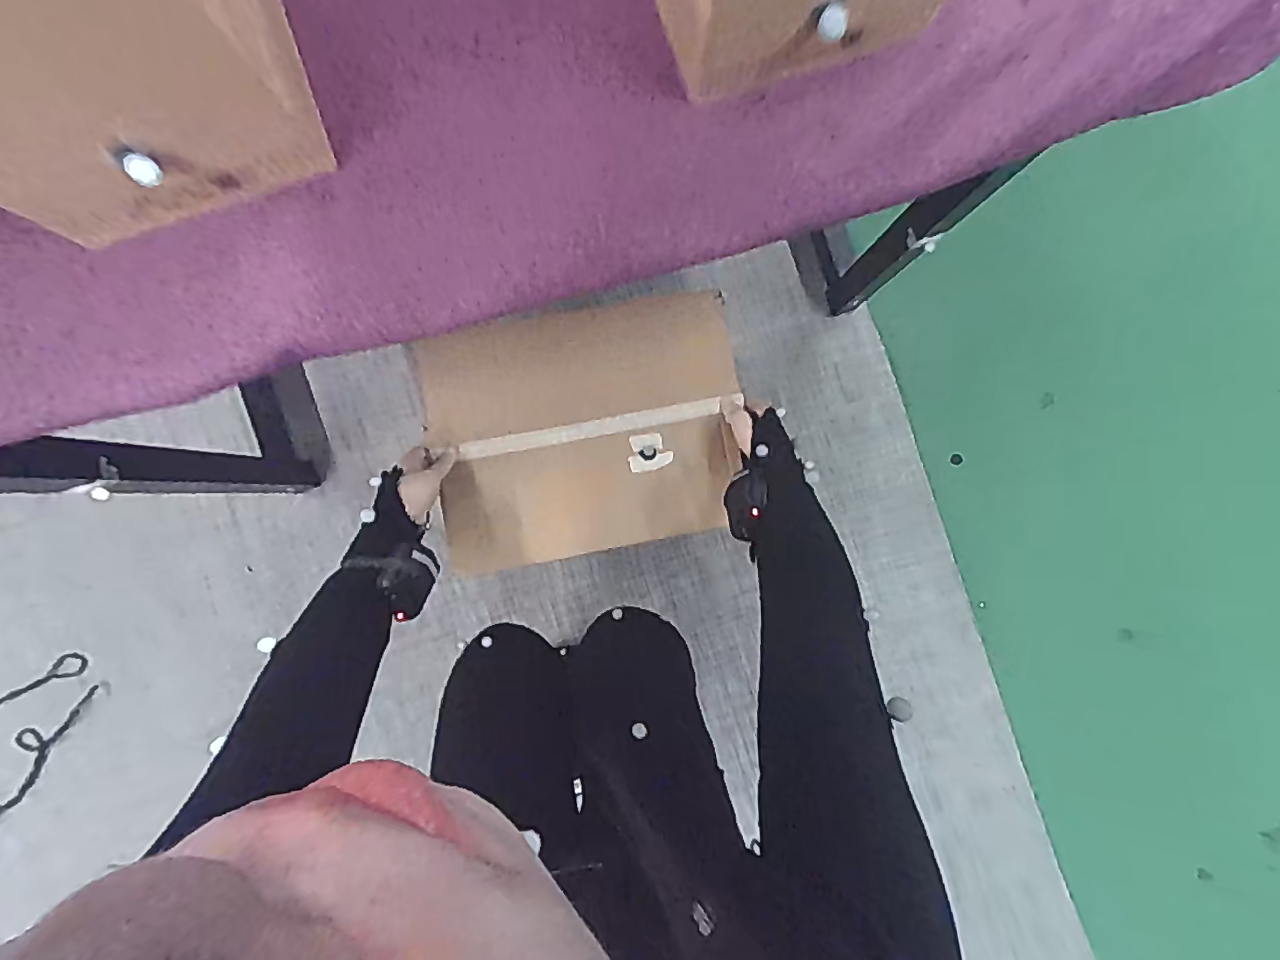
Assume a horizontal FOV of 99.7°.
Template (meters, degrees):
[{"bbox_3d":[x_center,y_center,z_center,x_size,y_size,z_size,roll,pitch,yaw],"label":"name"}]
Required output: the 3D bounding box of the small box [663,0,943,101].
[{"bbox_3d":[0.090,-0.355,0.283,0.168,0.176,0.179,-18,89,-2],"label":"small box"}]

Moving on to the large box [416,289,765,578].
[{"bbox_3d":[-0.074,-0.053,0.834,0.408,0.320,0.320,-11,86,-6],"label":"large box"}]
